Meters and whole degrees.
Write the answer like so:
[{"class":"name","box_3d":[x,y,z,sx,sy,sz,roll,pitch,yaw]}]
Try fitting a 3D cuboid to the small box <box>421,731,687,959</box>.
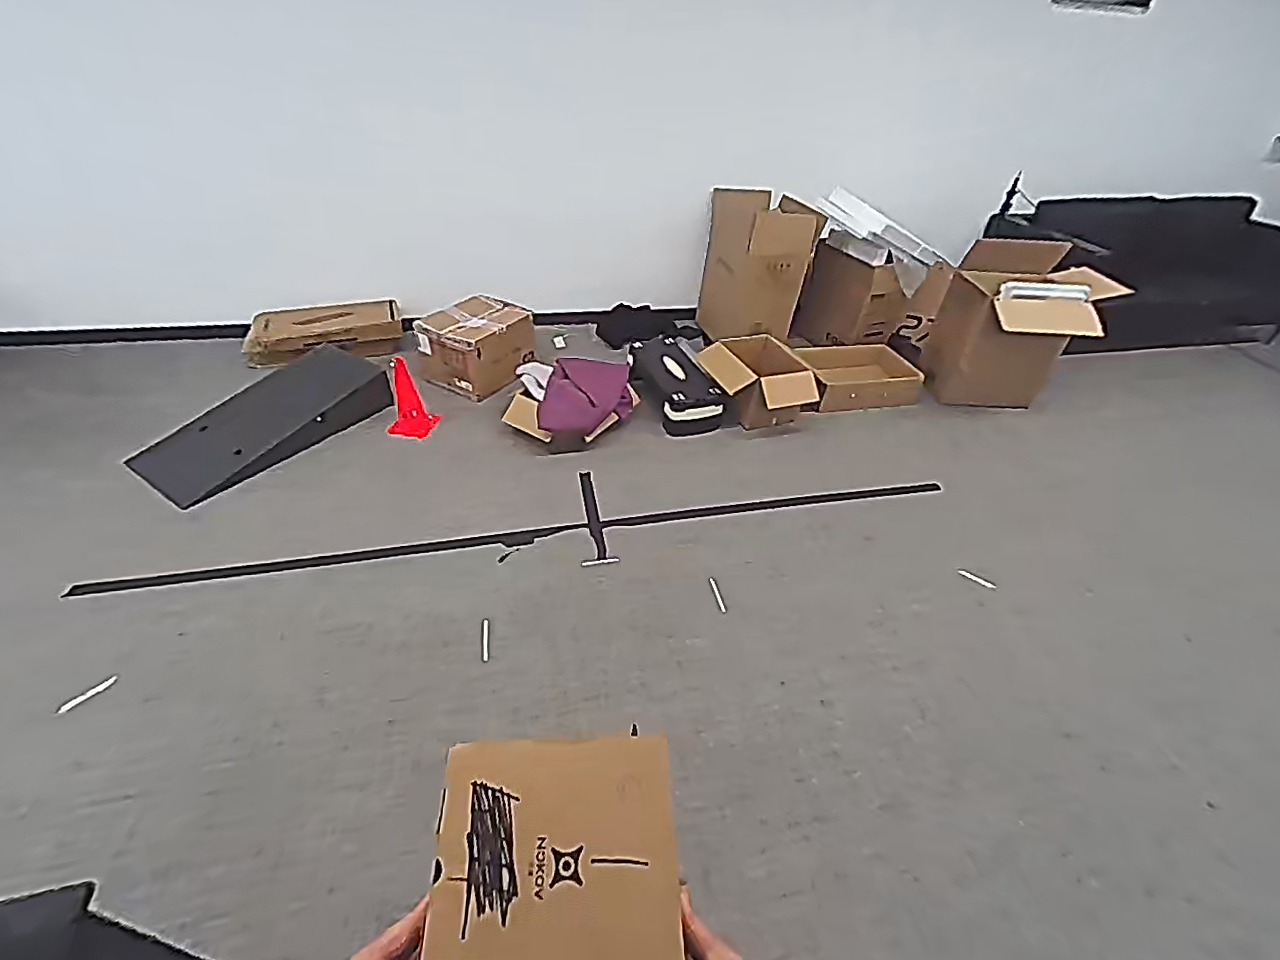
[{"class":"small box","box_3d":[-0.059,0.321,0.448,0.179,0.176,0.168,-2,51,-3]}]
